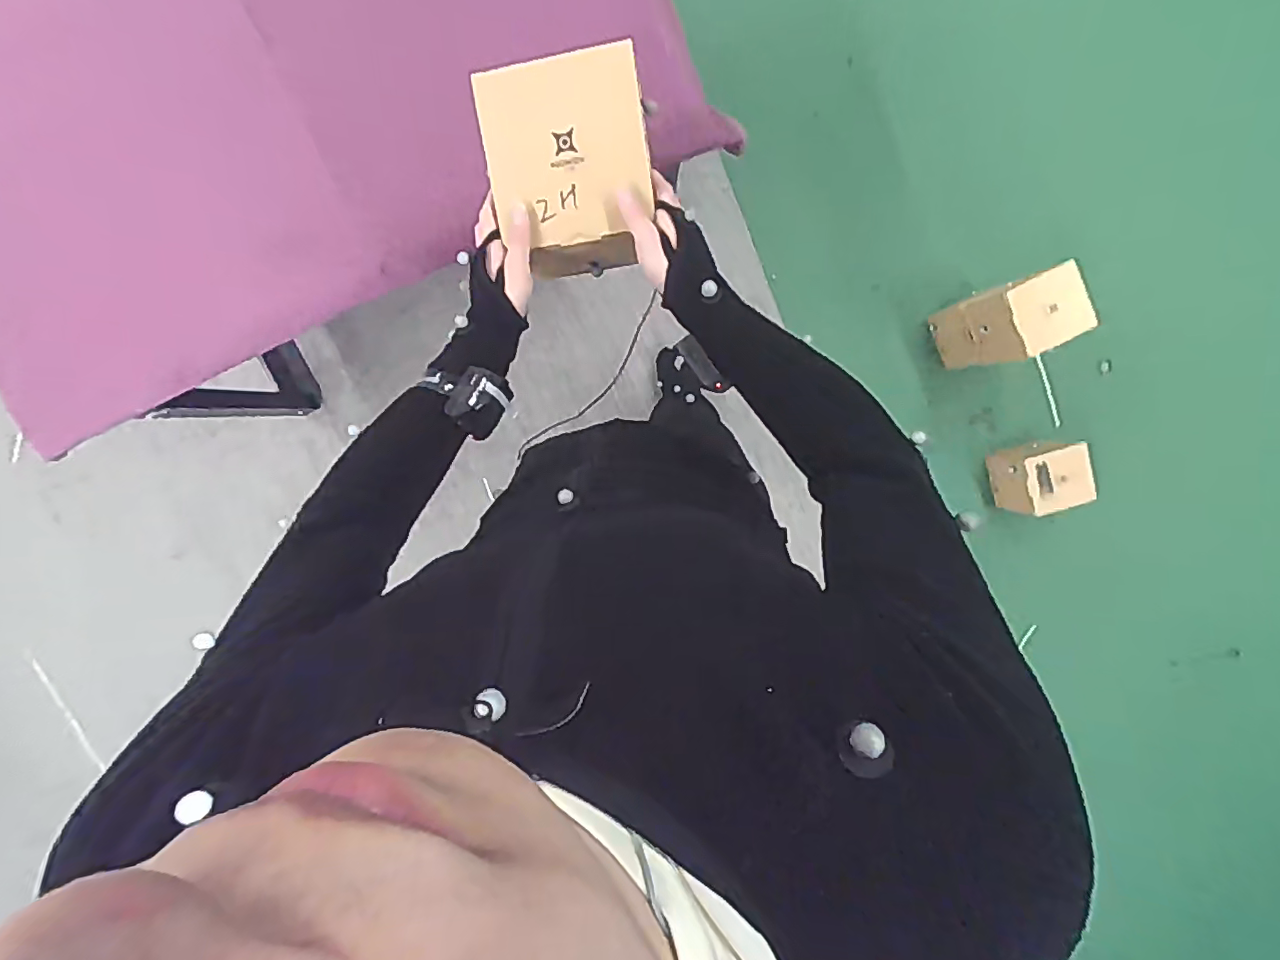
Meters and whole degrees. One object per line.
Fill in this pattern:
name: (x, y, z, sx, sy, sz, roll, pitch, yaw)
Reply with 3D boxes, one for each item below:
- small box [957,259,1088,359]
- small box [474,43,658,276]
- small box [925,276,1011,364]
small box: (0.937, -0.415, 1.339, 0.179, 0.176, 0.168, -27, 97, 3)
small box: (-0.071, -0.348, 0.624, 0.168, 0.176, 0.179, -7, 102, 6)
small box: (0.926, -0.435, 1.500, 0.179, 0.176, 0.168, -26, 97, 2)
